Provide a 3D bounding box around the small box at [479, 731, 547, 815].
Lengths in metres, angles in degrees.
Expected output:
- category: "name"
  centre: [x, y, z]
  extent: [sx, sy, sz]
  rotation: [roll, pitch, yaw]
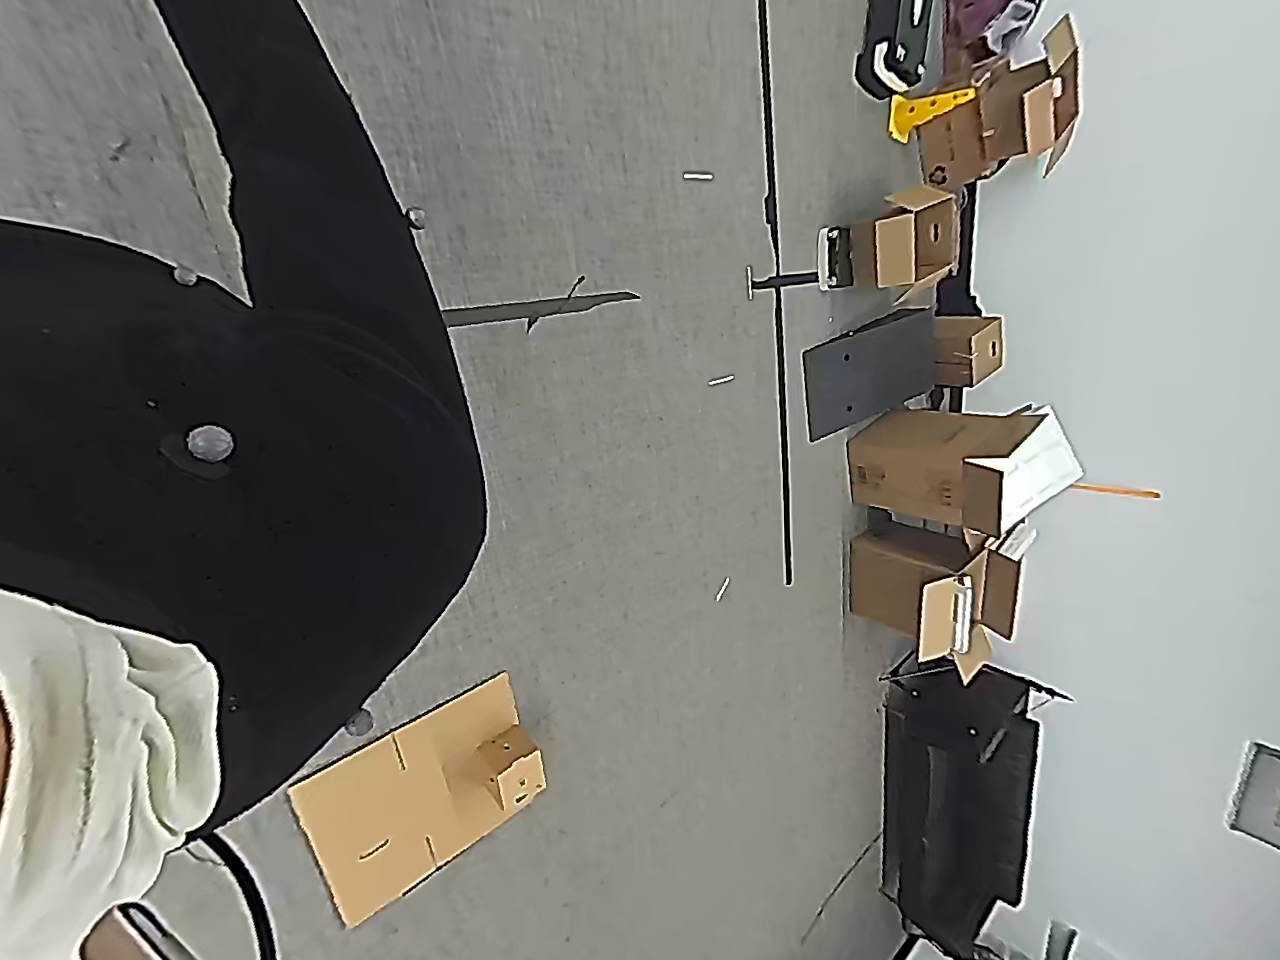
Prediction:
- category: "small box"
  centre: [-0.453, 1.023, 1.916]
  extent: [0.168, 0.176, 0.179]
  rotation: [-18, 111, -36]
